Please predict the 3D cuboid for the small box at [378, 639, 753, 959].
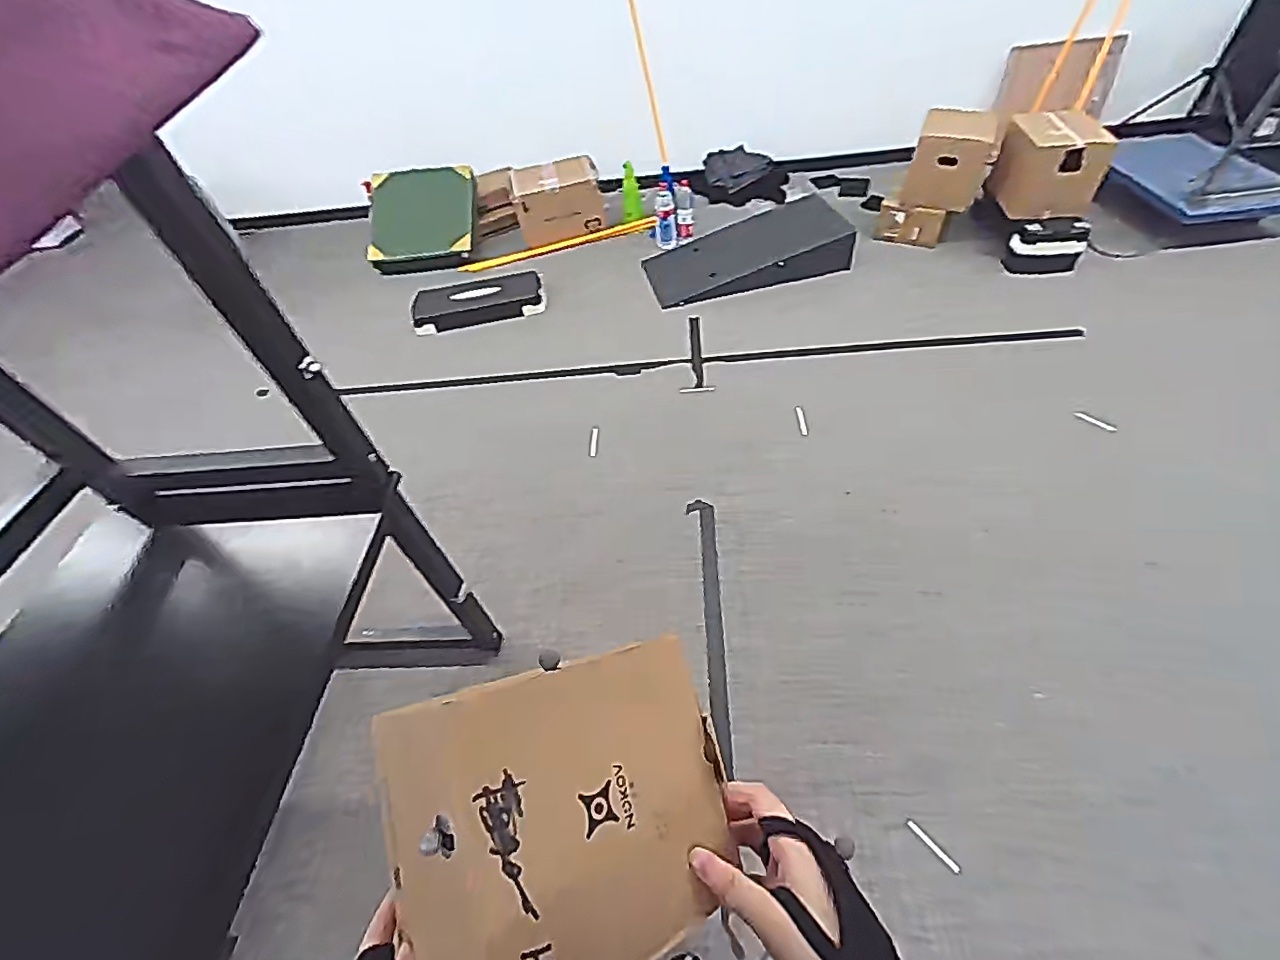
[{"bbox_3d":[-0.060,0.219,0.371,0.179,0.176,0.168,-2,68,-39],"label":"small box"}]
